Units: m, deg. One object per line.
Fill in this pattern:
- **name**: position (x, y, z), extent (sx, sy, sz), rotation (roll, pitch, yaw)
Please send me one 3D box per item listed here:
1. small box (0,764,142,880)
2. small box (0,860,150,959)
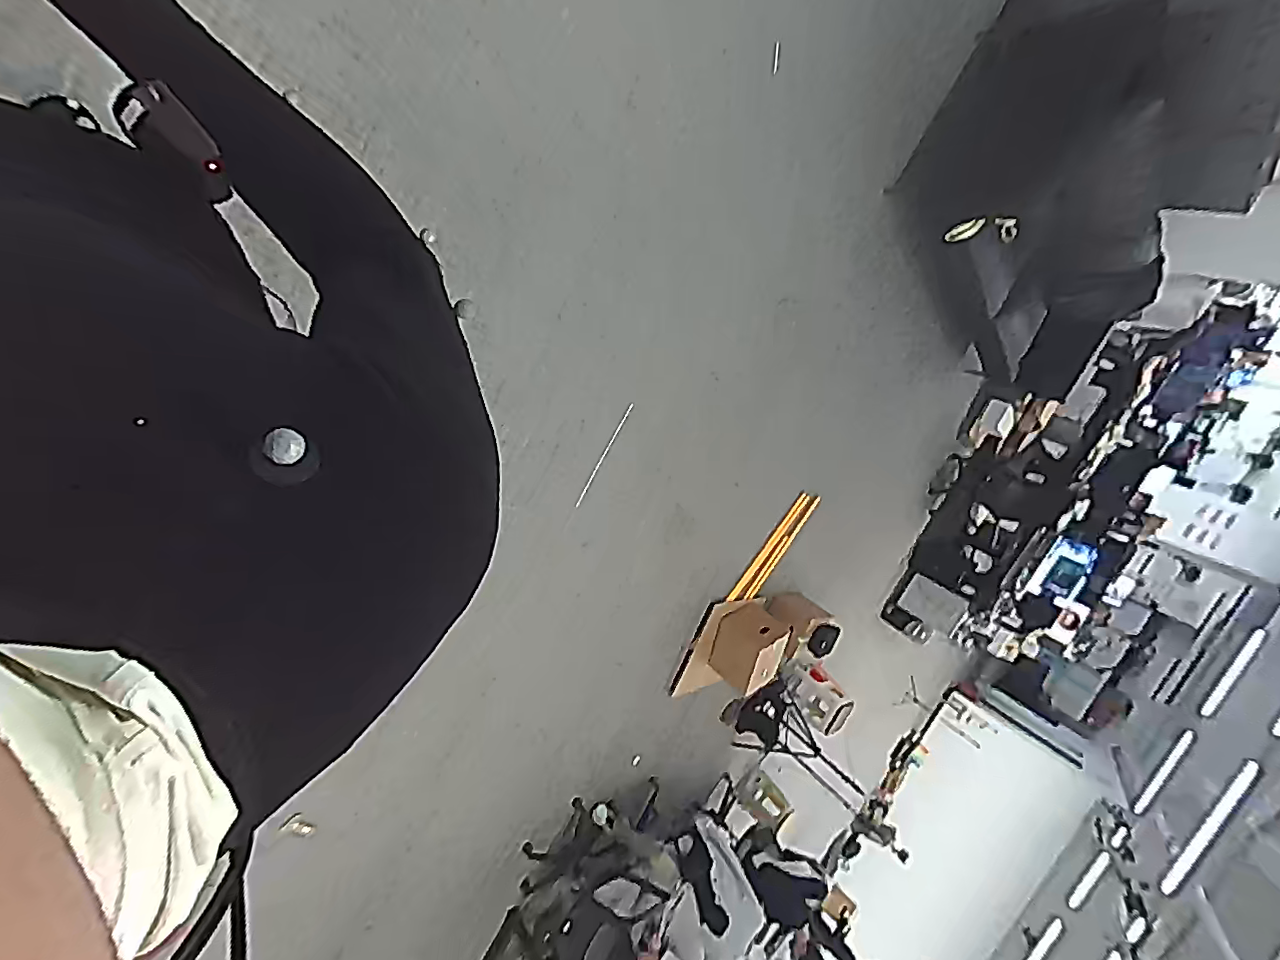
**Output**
- **small box**: position (-0.830, 0.536, 0.754), extent (0.168, 0.176, 0.179), rotation (21, 99, -48)
- **small box**: position (-0.725, 0.596, 0.644), extent (0.168, 0.176, 0.179), rotation (21, 100, -48)
